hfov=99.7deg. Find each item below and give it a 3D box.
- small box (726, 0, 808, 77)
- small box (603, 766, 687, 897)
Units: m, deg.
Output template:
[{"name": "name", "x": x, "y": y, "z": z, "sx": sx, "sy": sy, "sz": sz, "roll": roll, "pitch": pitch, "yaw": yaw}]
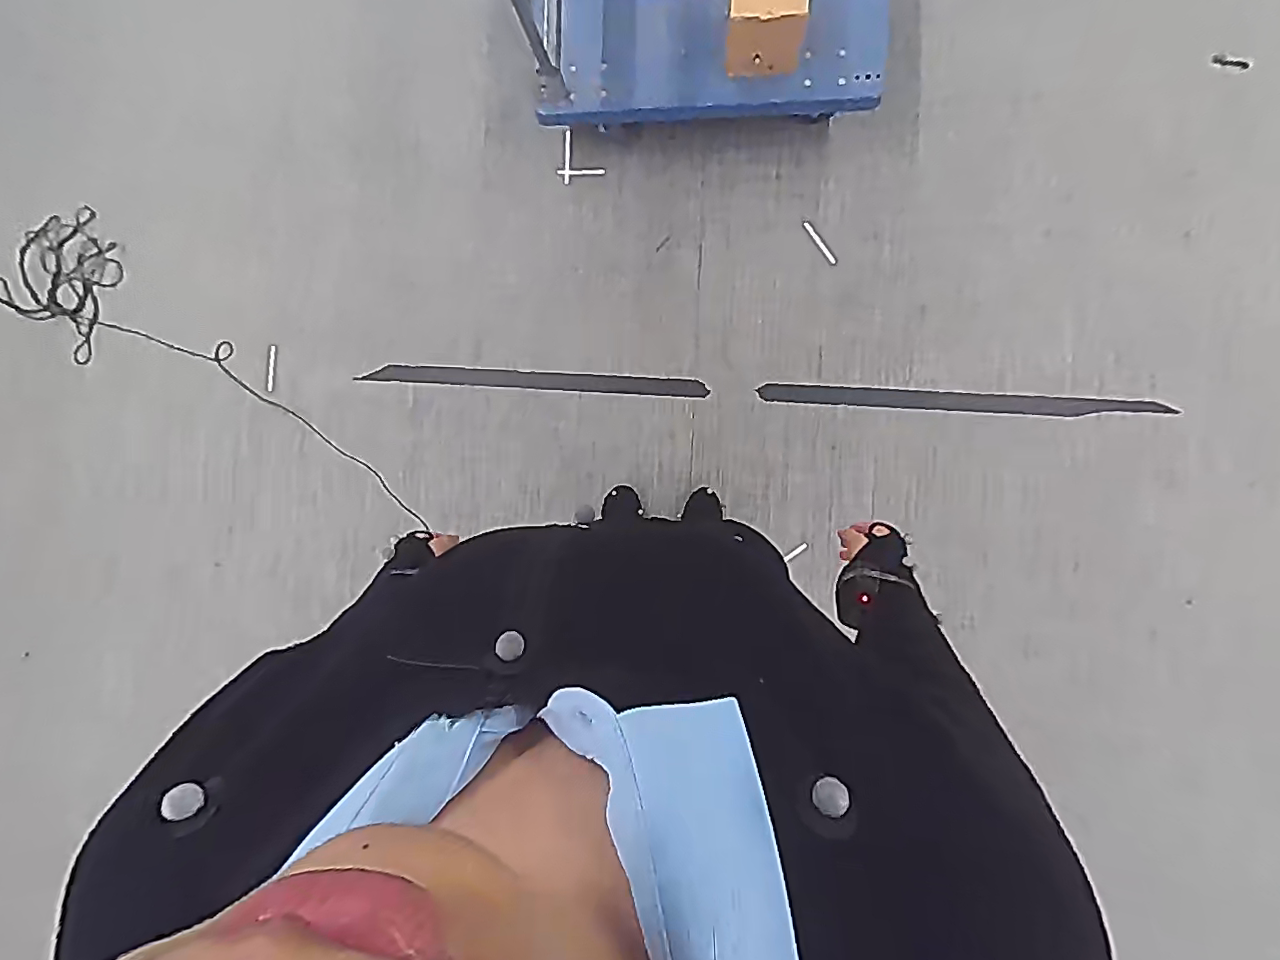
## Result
[{"name": "small box", "x": 0.285, "y": -1.069, "z": 1.235, "sx": 0.168, "sy": 0.176, "sz": 0.179, "roll": 1, "pitch": 89, "yaw": 6}, {"name": "small box", "x": 0.018, "y": 0.796, "z": 1.241, "sx": 0.168, "sy": 0.176, "sz": 0.179, "roll": 8, "pitch": 89, "yaw": 5}]
